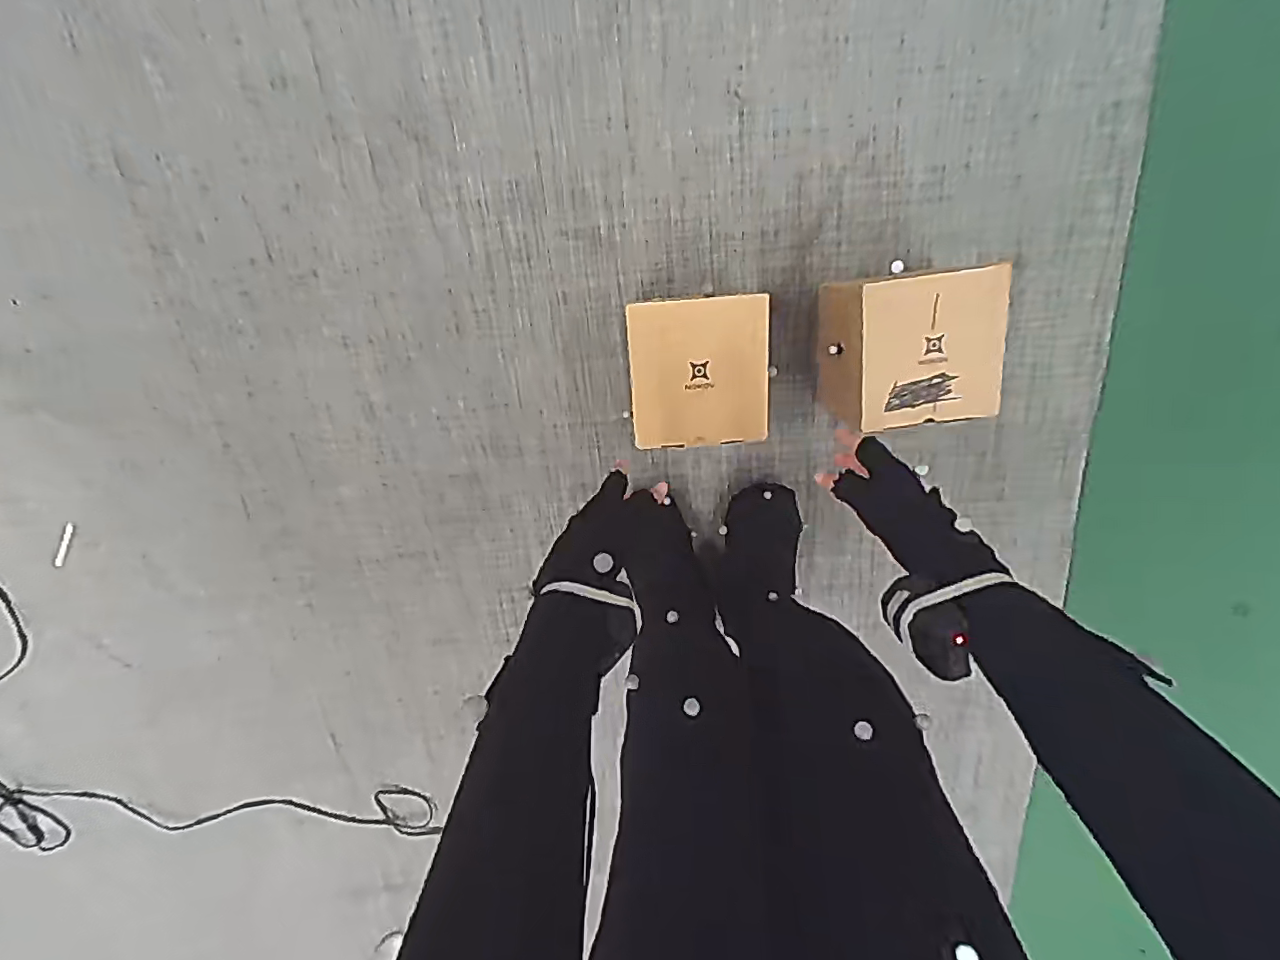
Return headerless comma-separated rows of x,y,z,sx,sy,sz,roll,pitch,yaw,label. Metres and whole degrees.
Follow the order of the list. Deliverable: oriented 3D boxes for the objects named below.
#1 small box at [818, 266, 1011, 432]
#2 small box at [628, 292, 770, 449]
0.338,-0.173,0.700,0.168,0.176,0.179,-7,108,3,small box
0.070,-0.150,0.713,0.168,0.176,0.179,-4,109,2,small box
